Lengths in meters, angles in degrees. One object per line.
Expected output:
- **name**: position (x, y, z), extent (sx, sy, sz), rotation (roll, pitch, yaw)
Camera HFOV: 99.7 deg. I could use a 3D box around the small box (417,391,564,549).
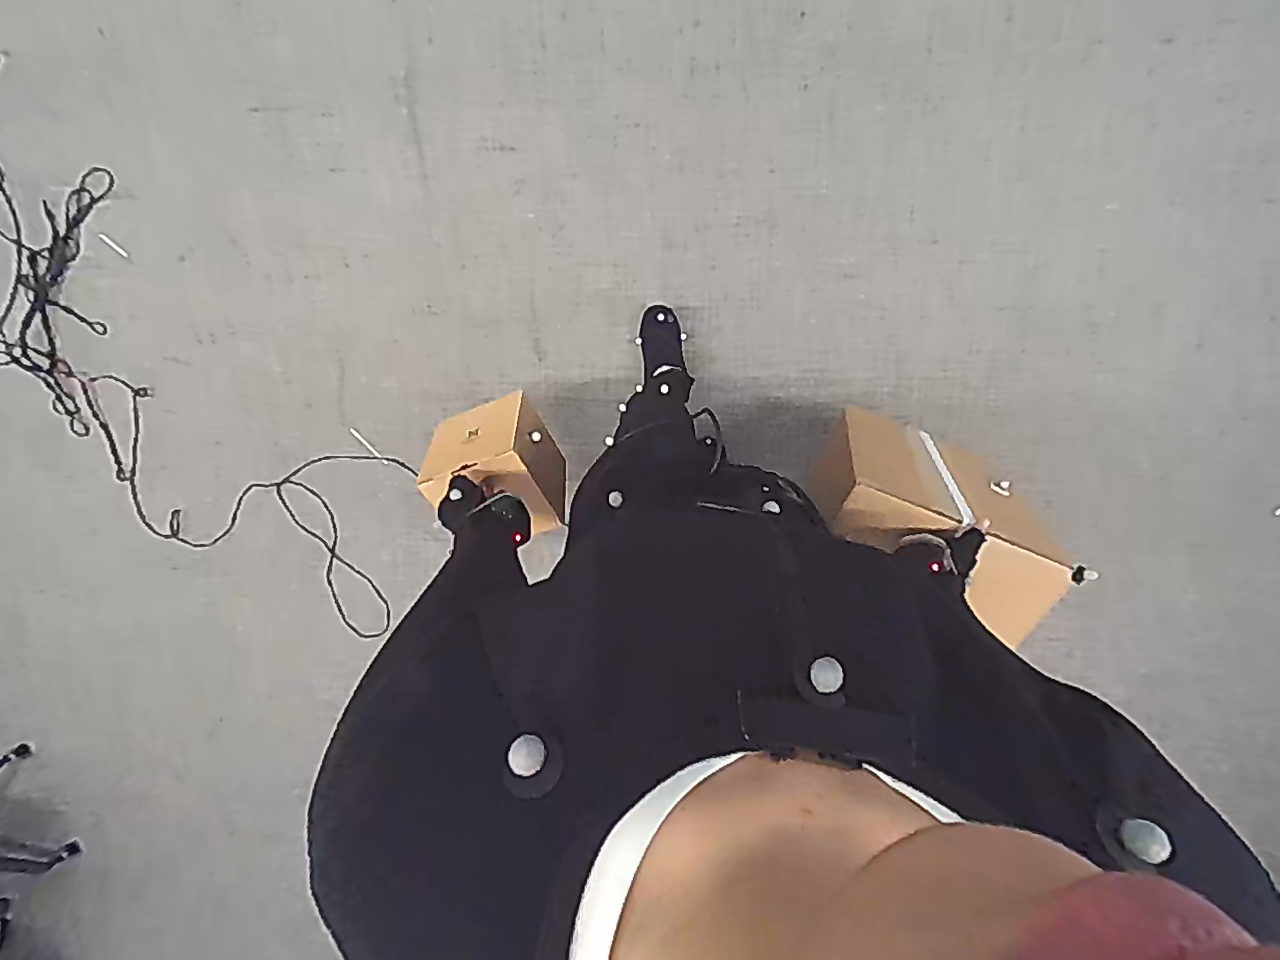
- **small box**: position (-0.238, -0.016, 0.911), extent (0.168, 0.179, 0.176), rotation (-19, 129, 9)
